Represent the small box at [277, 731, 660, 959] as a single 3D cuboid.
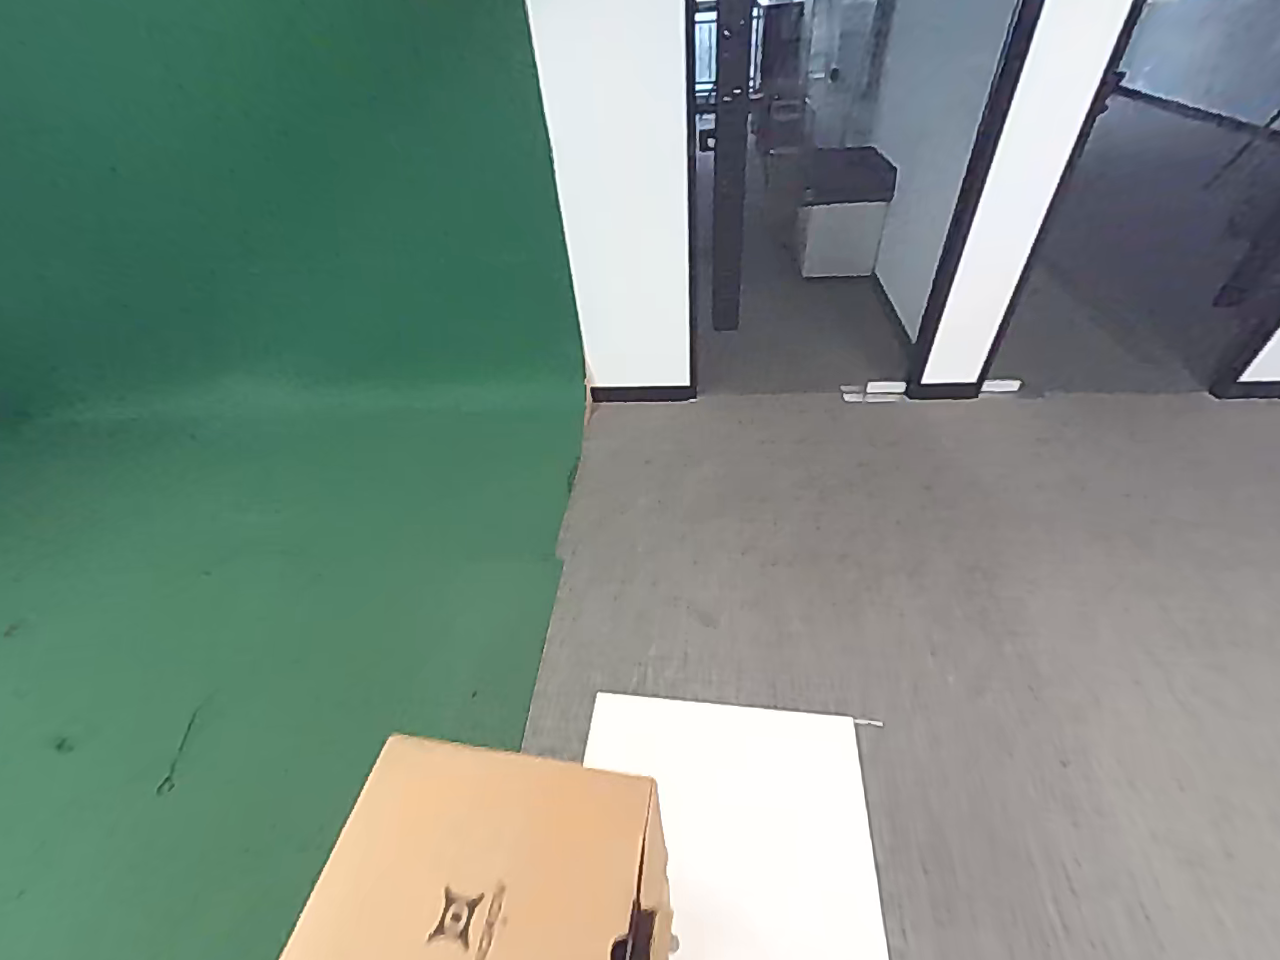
[{"bbox_3d":[-0.086,0.282,0.332,0.179,0.176,0.168,5,43,9],"label":"small box"}]
